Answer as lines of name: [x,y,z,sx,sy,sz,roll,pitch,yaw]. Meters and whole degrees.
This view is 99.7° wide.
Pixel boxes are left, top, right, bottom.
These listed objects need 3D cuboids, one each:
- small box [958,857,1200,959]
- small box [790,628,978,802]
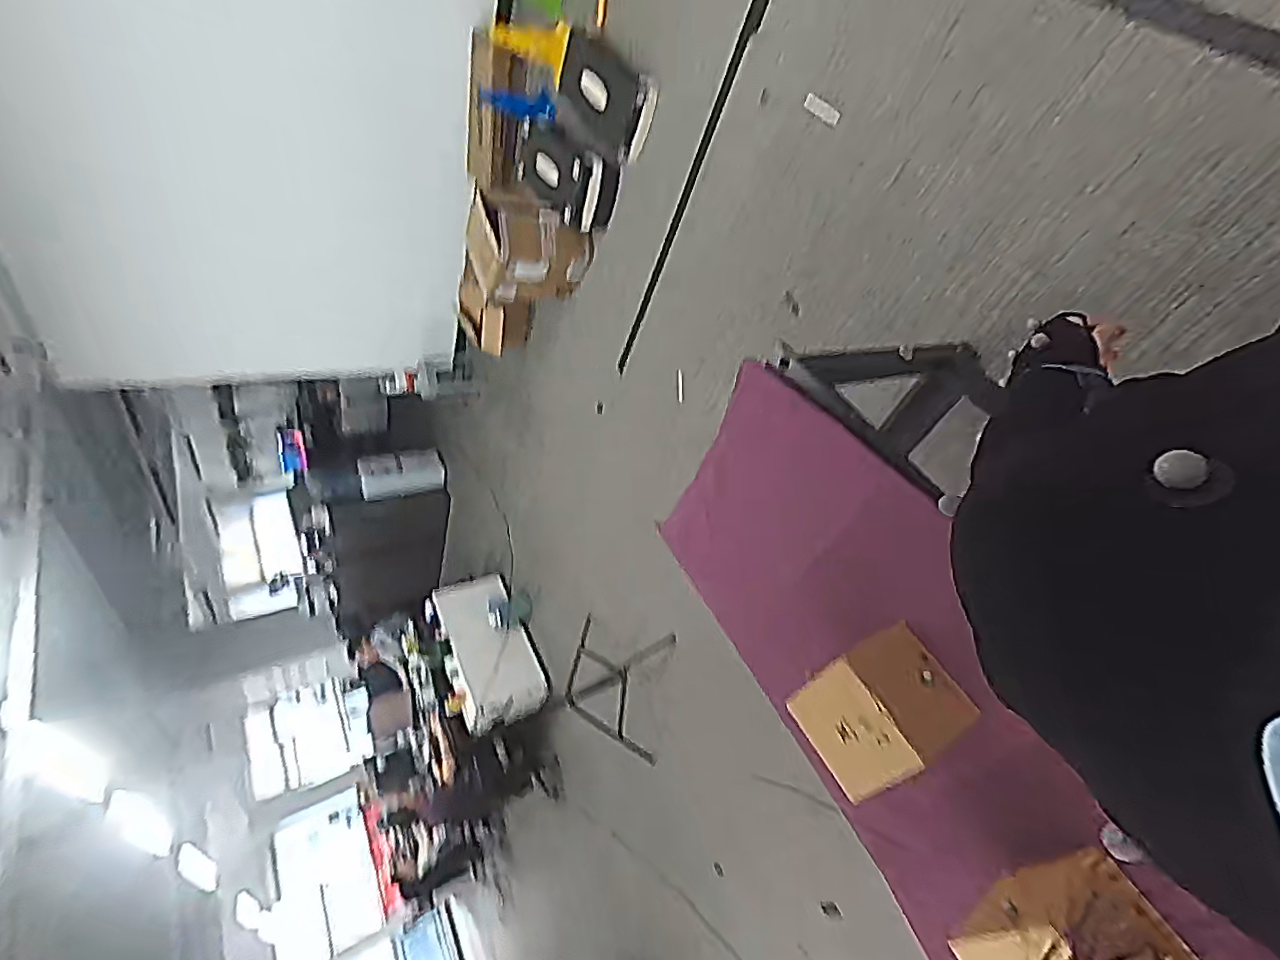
small box: [0.556,0.614,0.673,0.168,0.176,0.179,55,139,32]
small box: [0.381,0.365,0.852,0.168,0.176,0.179,55,139,30]
